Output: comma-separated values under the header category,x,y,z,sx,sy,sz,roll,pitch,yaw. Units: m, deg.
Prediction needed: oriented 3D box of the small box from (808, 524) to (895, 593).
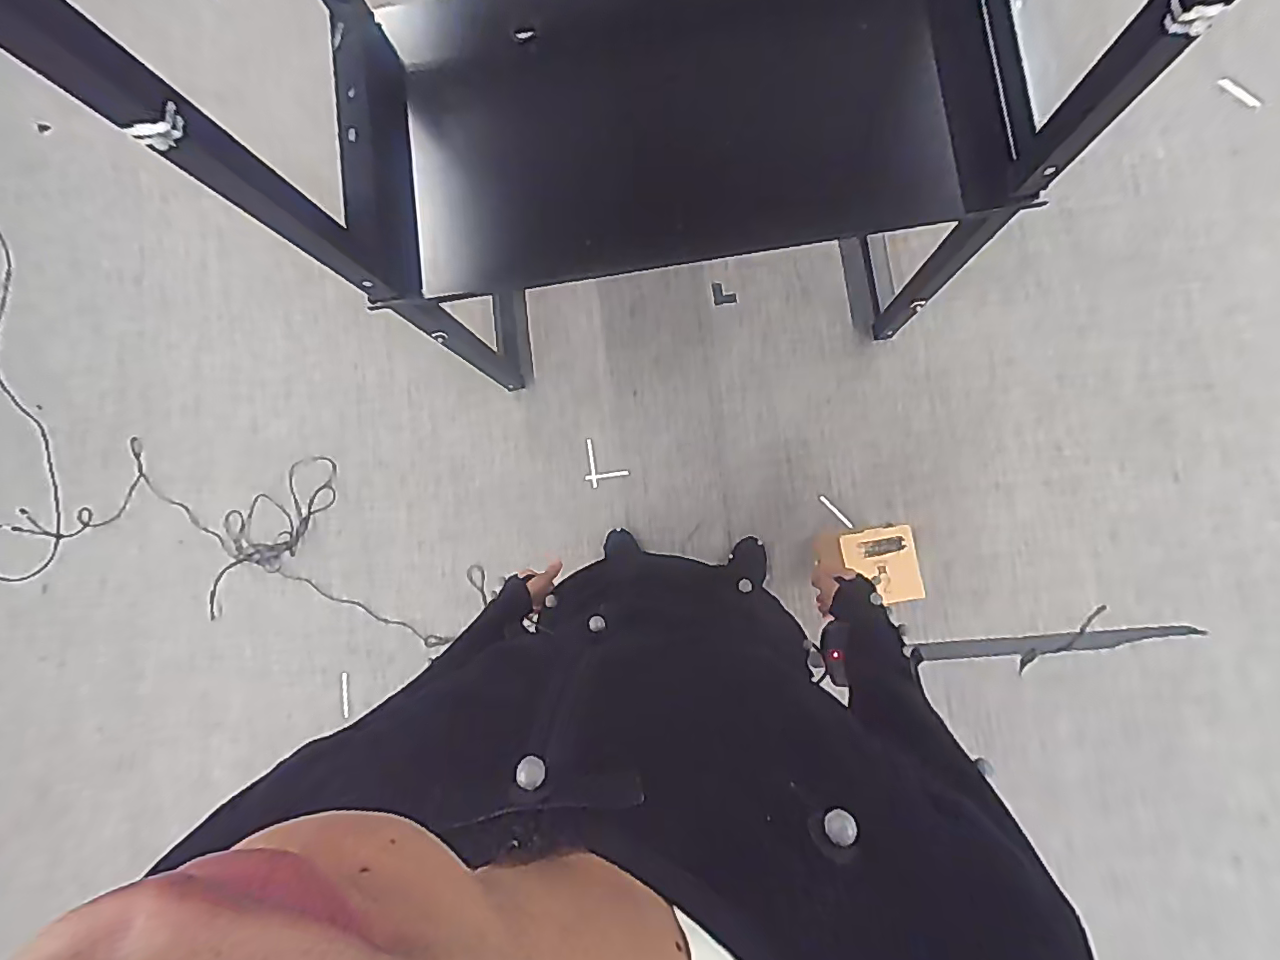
category,x,y,z,sx,sy,sz,roll,pitch,yaw
small box,0.581,0.214,1.505,0.179,0.176,0.168,-8,85,6
